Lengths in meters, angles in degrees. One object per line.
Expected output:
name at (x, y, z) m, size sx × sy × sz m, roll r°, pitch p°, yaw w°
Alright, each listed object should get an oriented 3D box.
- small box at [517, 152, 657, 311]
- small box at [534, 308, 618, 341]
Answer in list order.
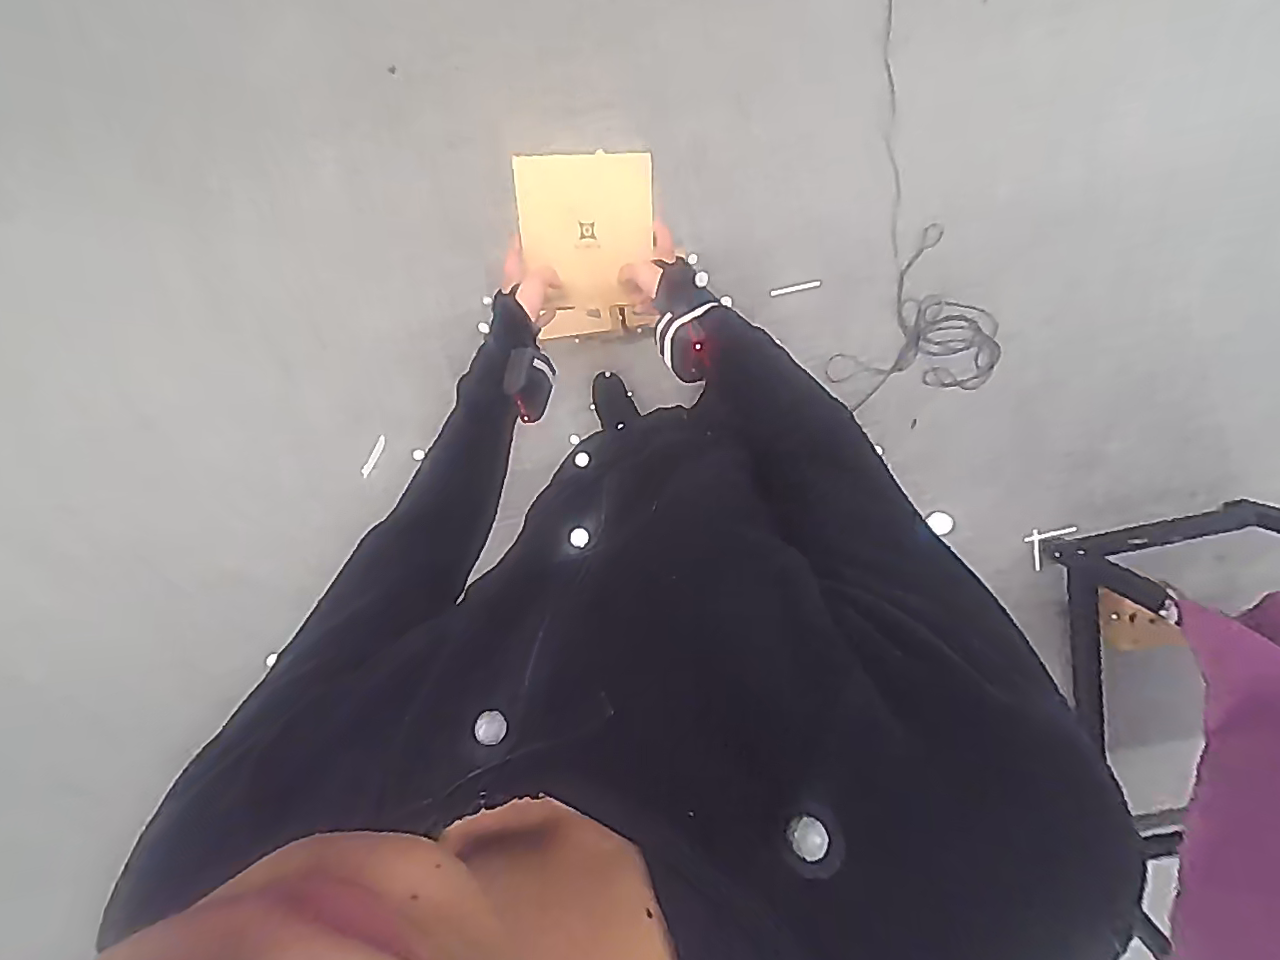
small box at (-0.068, -0.332, 0.738) m, size 0.168 × 0.176 × 0.179 m, roll -4°, pitch 114°, yaw -3°
small box at (-0.149, -0.423, 1.274) m, size 0.179 × 0.176 × 0.168 m, roll -7°, pitch 103°, yaw 5°
